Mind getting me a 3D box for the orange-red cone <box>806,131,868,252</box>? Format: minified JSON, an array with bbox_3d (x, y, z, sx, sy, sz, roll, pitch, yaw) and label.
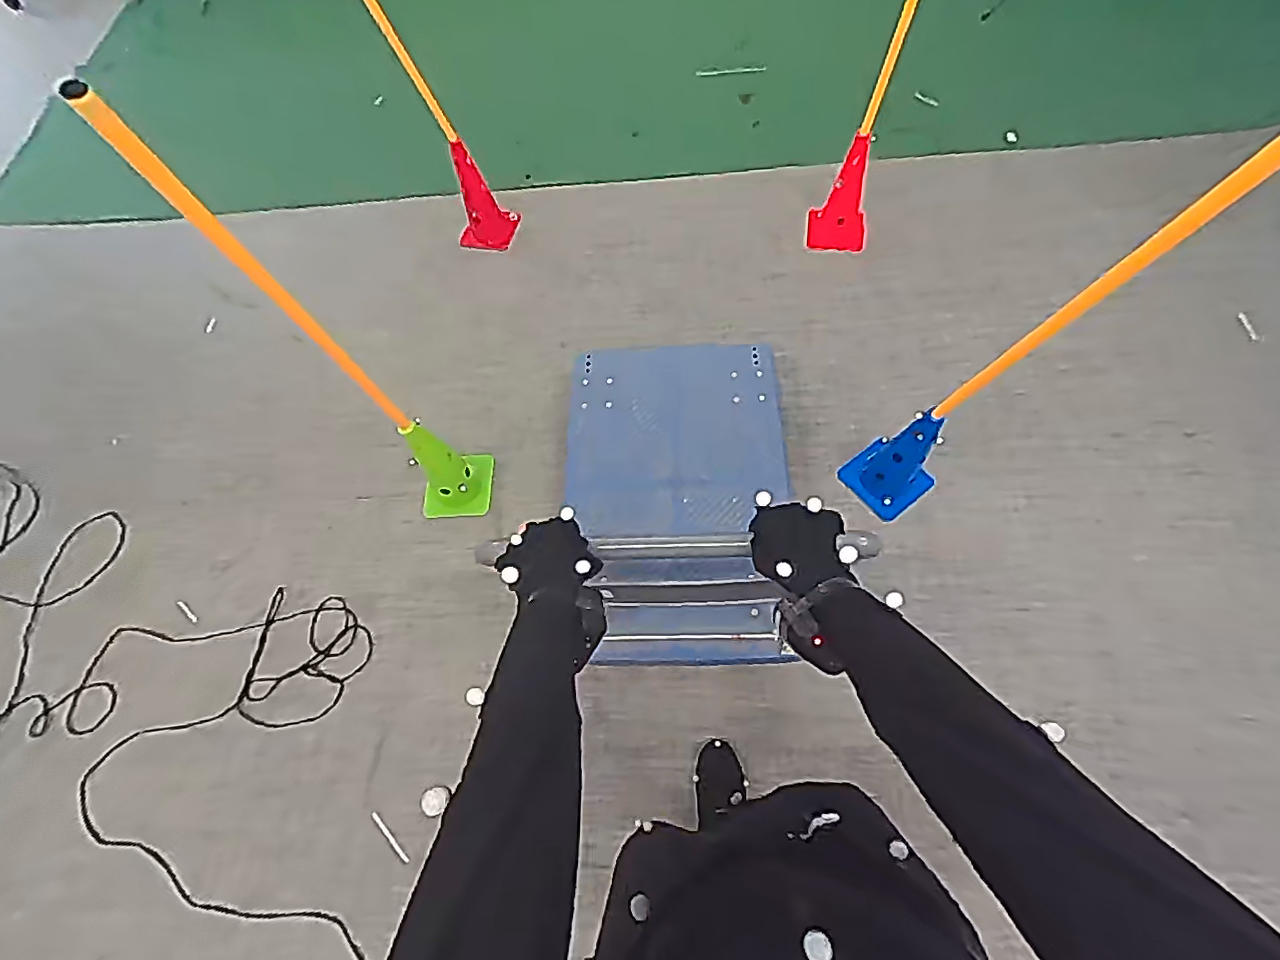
[{"bbox_3d":[0.685,-0.962,1.782,0.198,0.360,0.199,8,67,10],"label":"orange-red cone"}]
